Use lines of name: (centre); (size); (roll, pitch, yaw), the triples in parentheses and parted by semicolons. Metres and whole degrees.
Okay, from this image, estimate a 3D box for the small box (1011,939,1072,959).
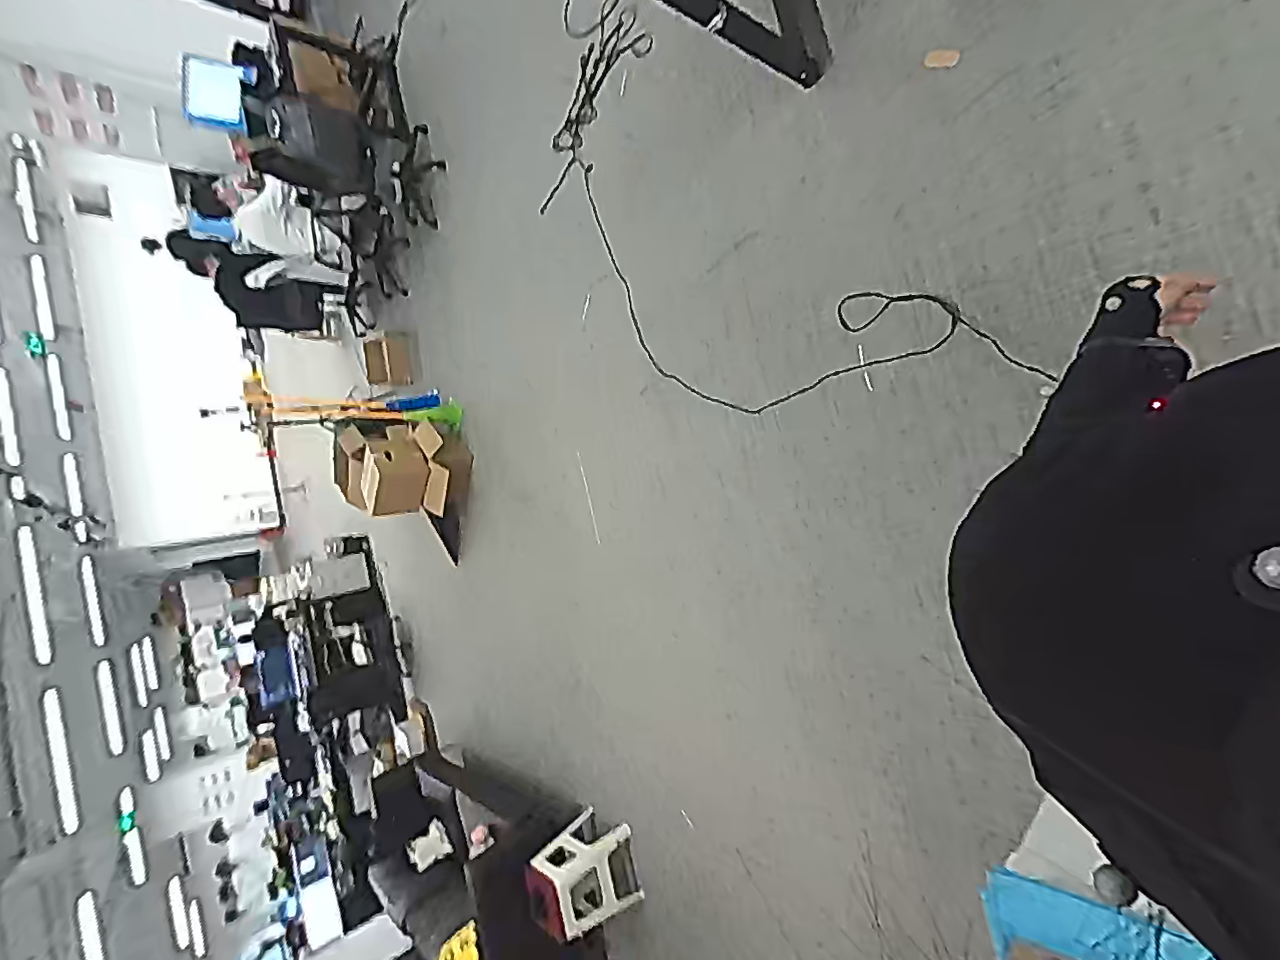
small box: (0.634, 0.831, 0.780); (0.168, 0.176, 0.179); (-12, 89, 49)
